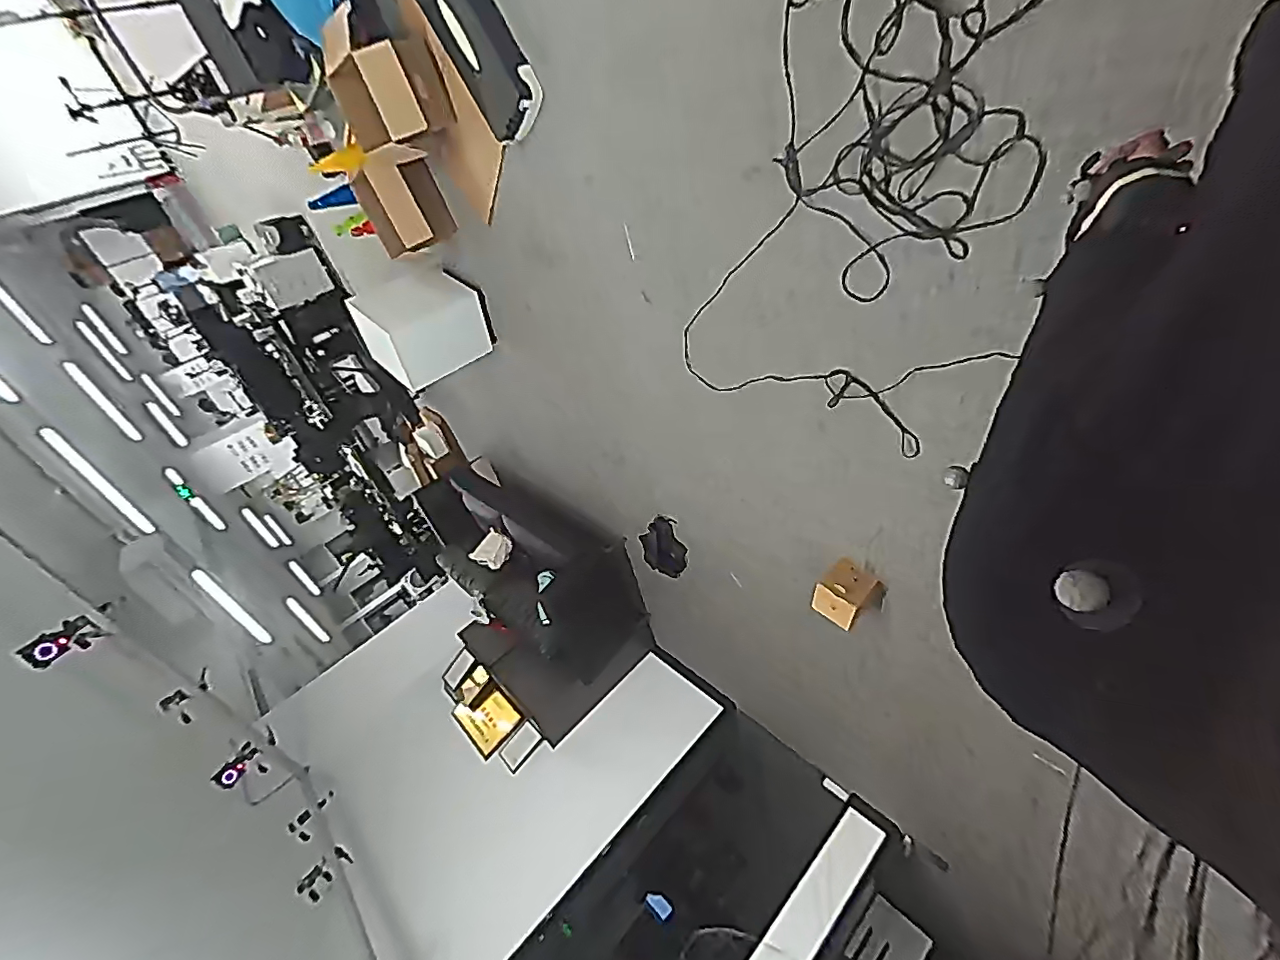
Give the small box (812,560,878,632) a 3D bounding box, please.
[{"bbox_3d":[0.796,0.448,2.098,0.168,0.176,0.179,34,148,34],"label":"small box"}]
